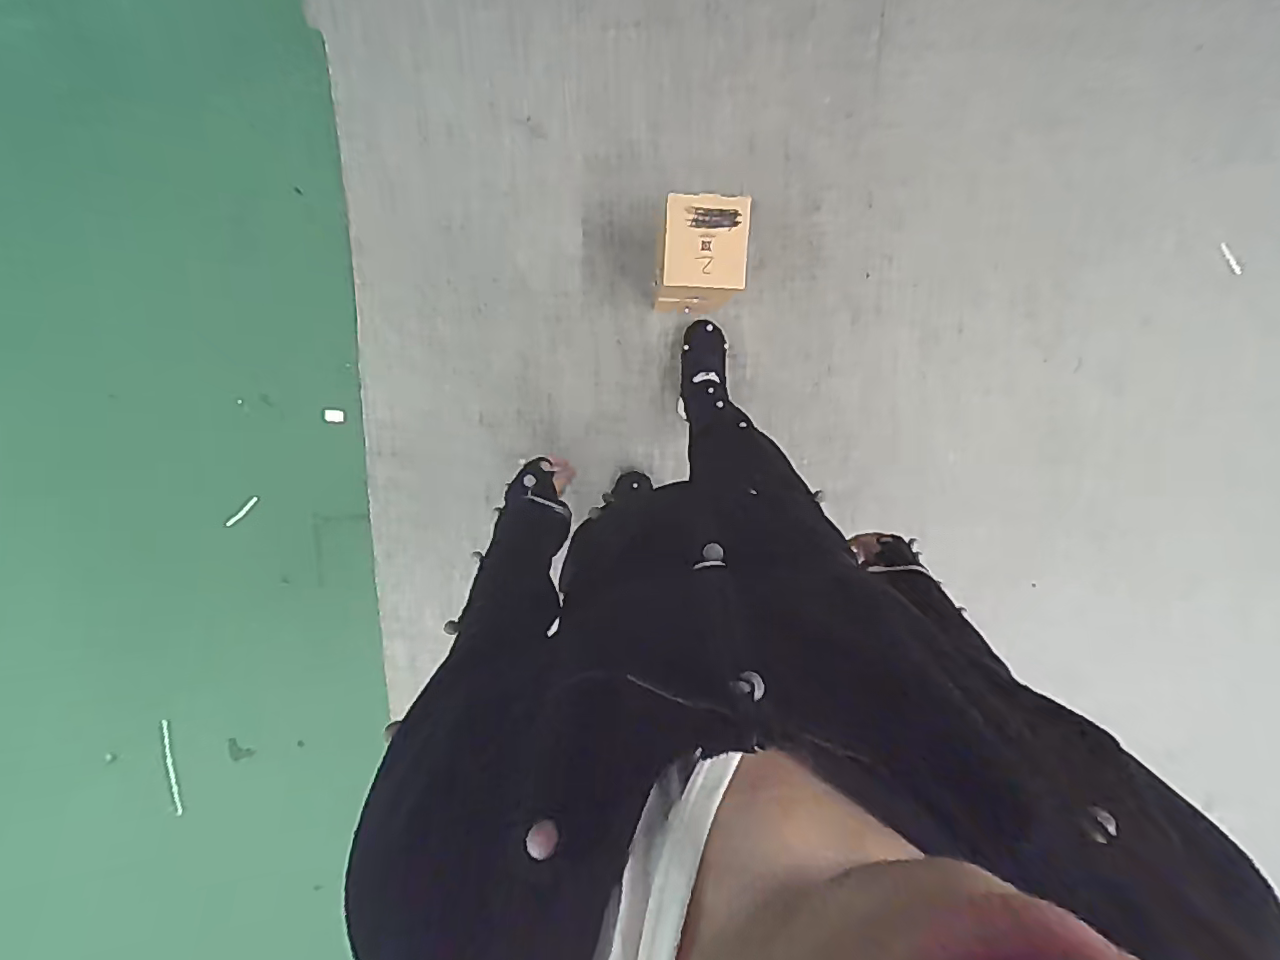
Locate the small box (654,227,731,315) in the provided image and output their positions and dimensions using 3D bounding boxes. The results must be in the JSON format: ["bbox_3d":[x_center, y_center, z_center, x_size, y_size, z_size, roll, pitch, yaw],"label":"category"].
[{"bbox_3d":[0.121,-0.497,1.310,0.168,0.176,0.179,0,100,-2],"label":"small box"}]
